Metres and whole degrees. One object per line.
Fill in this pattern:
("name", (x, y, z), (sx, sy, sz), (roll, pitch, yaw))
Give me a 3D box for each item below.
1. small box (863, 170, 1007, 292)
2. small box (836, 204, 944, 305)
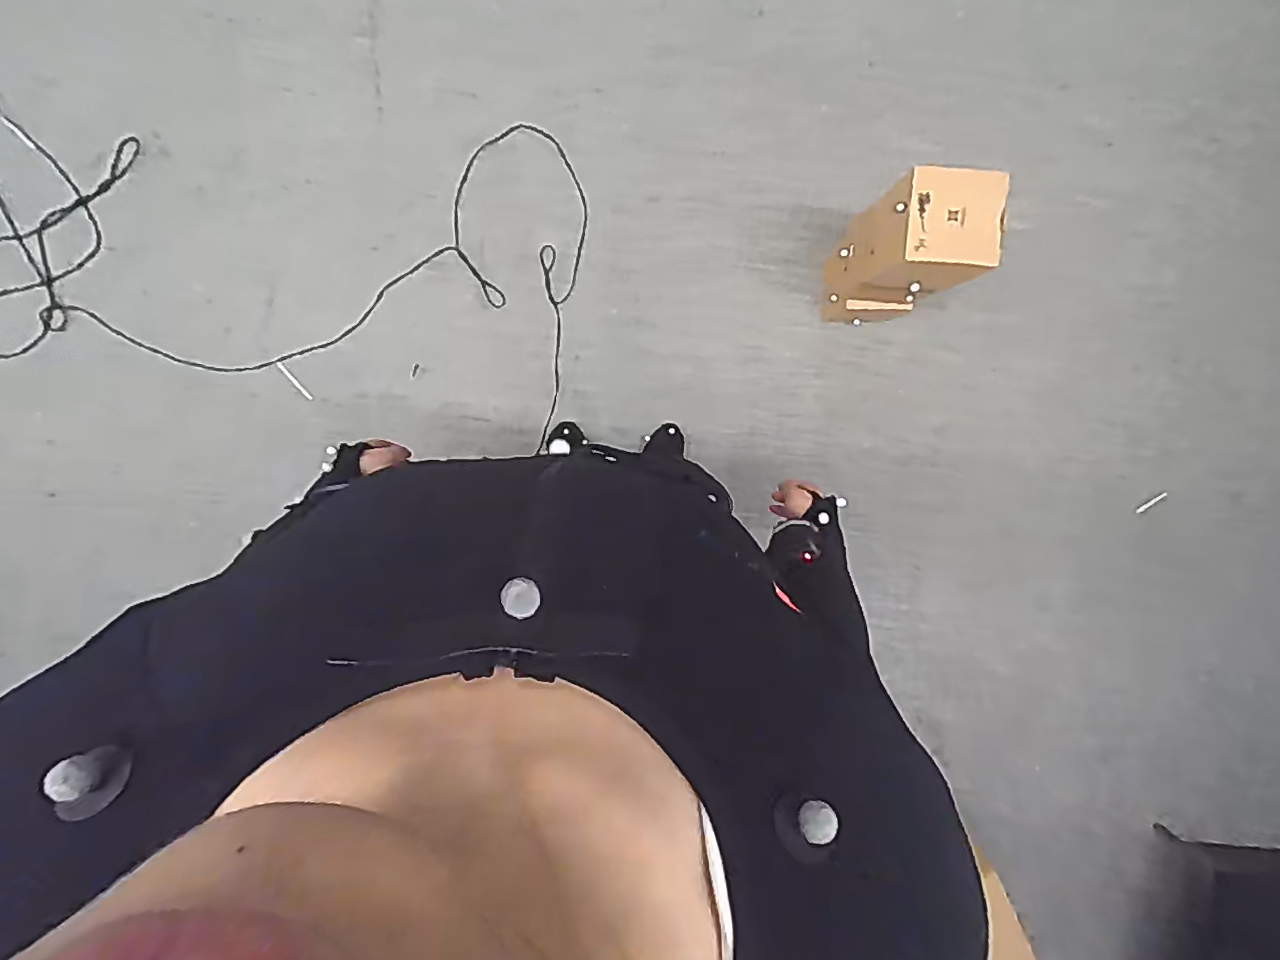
("small box", (0.565, -0.474, 1.054), (0.179, 0.176, 0.168), (4, 95, -3))
("small box", (0.567, -0.498, 1.217), (0.179, 0.176, 0.168), (4, 95, -1))
